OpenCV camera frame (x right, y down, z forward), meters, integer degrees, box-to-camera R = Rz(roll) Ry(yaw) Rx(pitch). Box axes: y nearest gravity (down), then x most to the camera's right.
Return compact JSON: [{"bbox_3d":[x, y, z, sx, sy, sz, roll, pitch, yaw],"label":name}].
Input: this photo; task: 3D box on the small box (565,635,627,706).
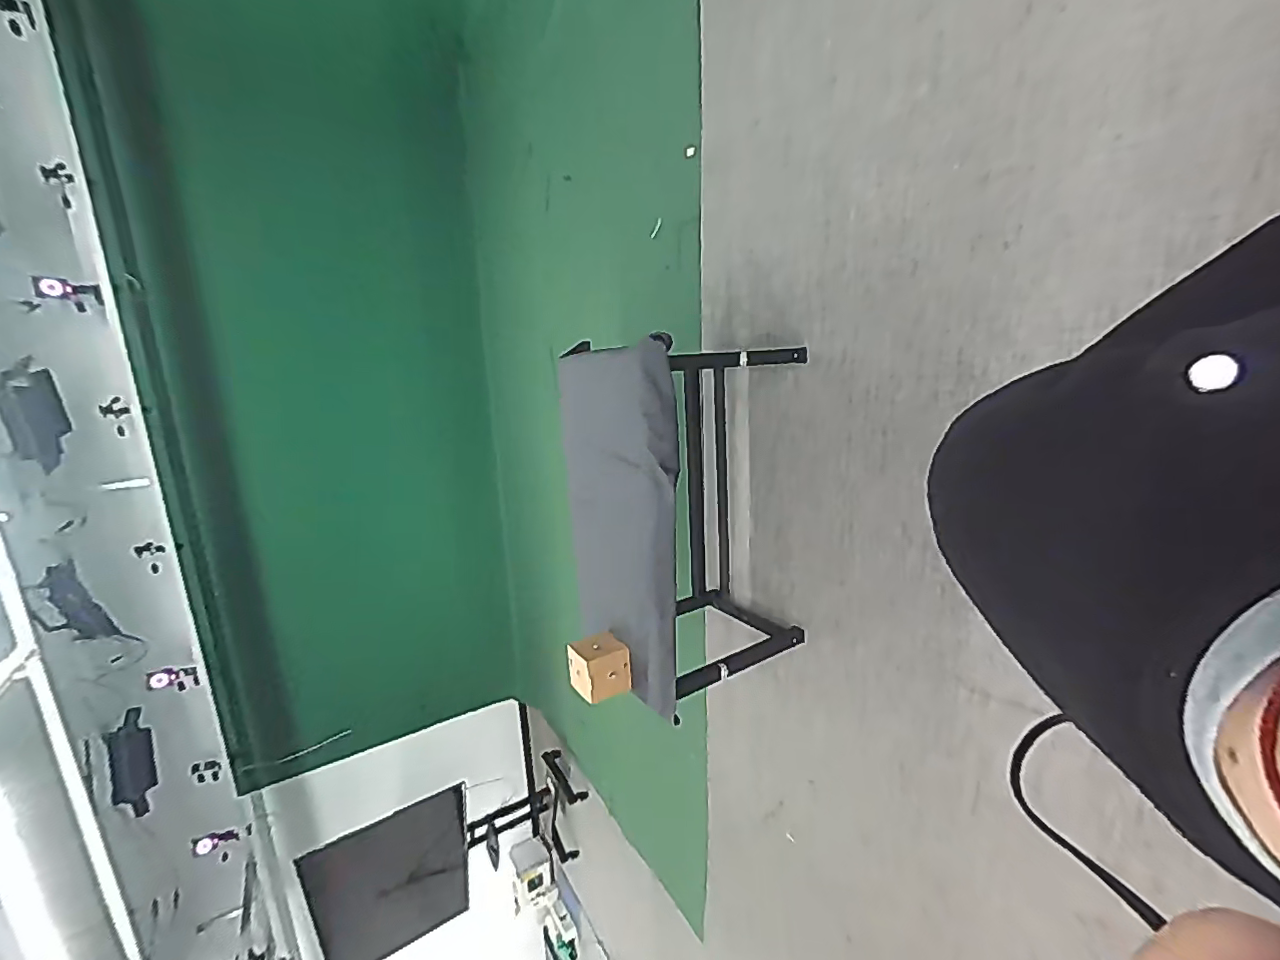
[{"bbox_3d":[-0.156,0.689,1.984,0.179,0.176,0.168,10,107,56],"label":"small box"}]
